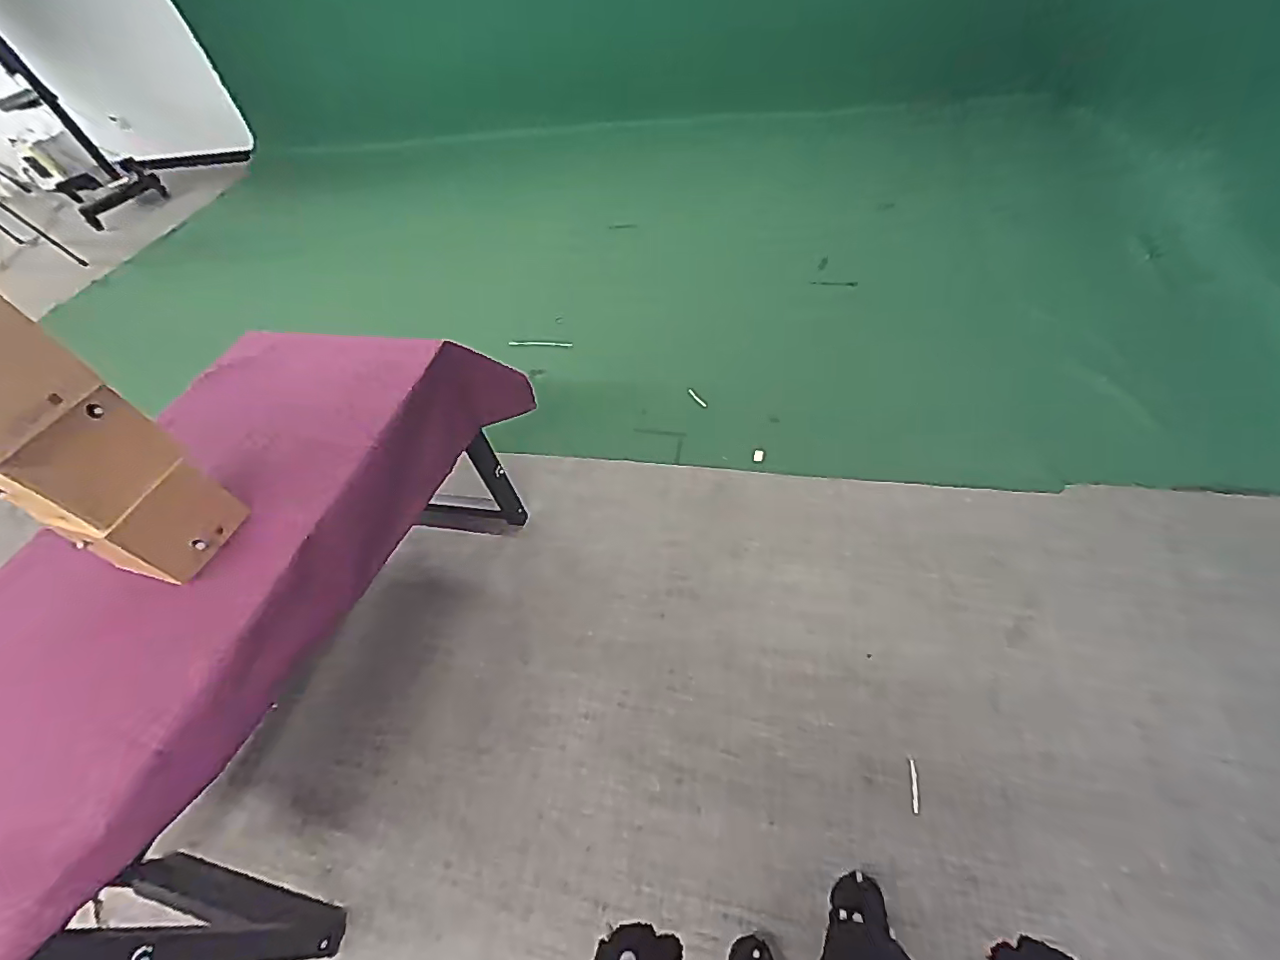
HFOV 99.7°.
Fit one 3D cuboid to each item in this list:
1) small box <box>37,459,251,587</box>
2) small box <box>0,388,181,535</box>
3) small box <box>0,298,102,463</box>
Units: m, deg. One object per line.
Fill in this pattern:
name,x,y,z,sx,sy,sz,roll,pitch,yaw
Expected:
small box,-0.849,0.067,0.944,0.179,0.176,0.168,10,55,17
small box,-0.873,-0.037,0.823,0.168,0.176,0.179,8,54,17
small box,-0.875,-0.135,0.690,0.179,0.176,0.168,9,55,19
